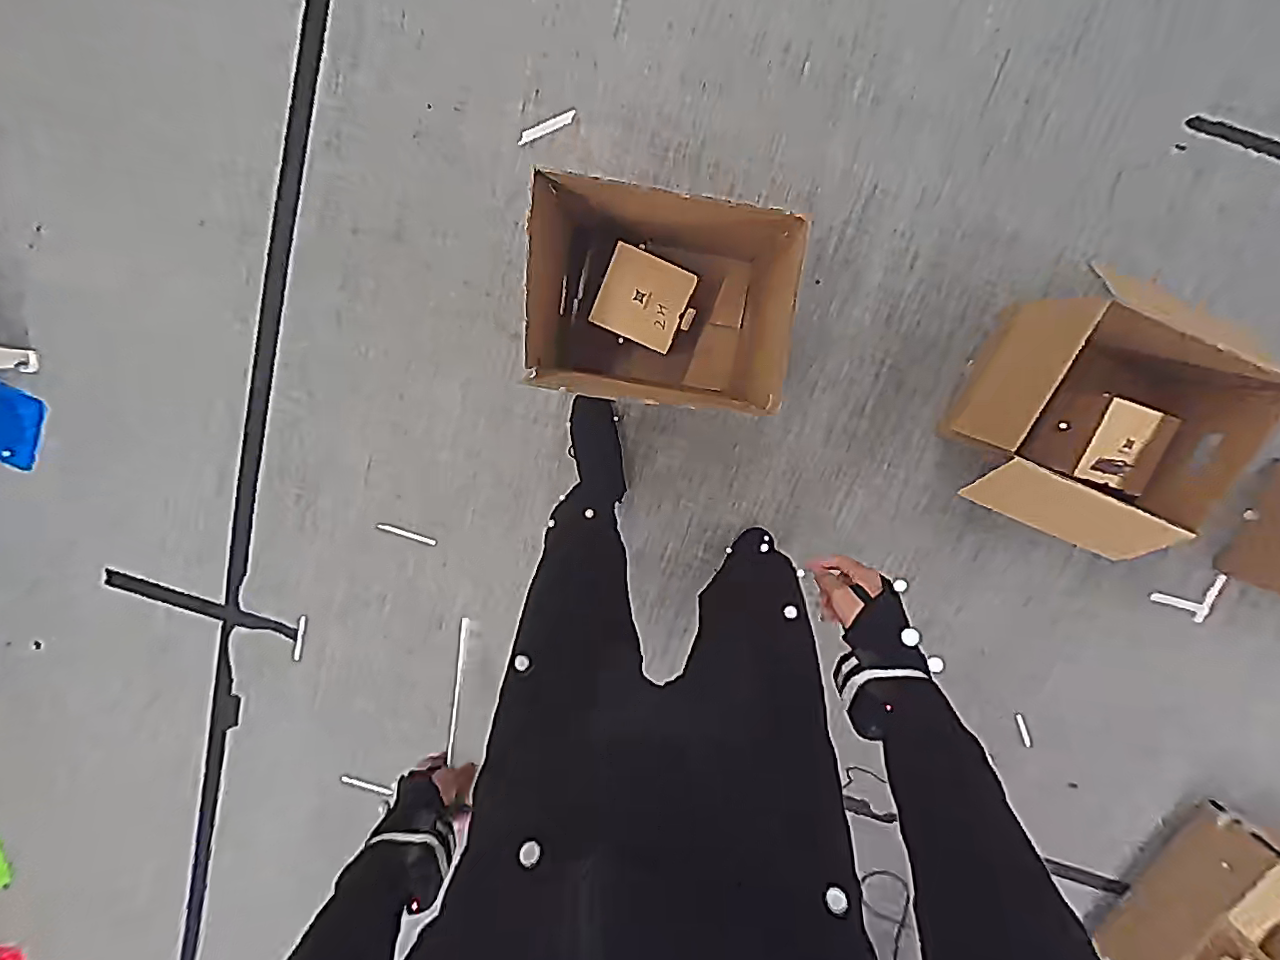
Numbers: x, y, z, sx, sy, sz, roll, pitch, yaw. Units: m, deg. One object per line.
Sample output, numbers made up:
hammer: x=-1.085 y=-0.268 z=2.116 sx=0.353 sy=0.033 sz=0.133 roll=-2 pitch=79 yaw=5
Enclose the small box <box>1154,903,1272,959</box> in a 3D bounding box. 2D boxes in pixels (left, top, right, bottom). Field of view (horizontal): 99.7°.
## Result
small box: x=1.583 y=1.307 z=1.471 sx=0.179 sy=0.176 sz=0.168 roll=31 pitch=102 yaw=-5
